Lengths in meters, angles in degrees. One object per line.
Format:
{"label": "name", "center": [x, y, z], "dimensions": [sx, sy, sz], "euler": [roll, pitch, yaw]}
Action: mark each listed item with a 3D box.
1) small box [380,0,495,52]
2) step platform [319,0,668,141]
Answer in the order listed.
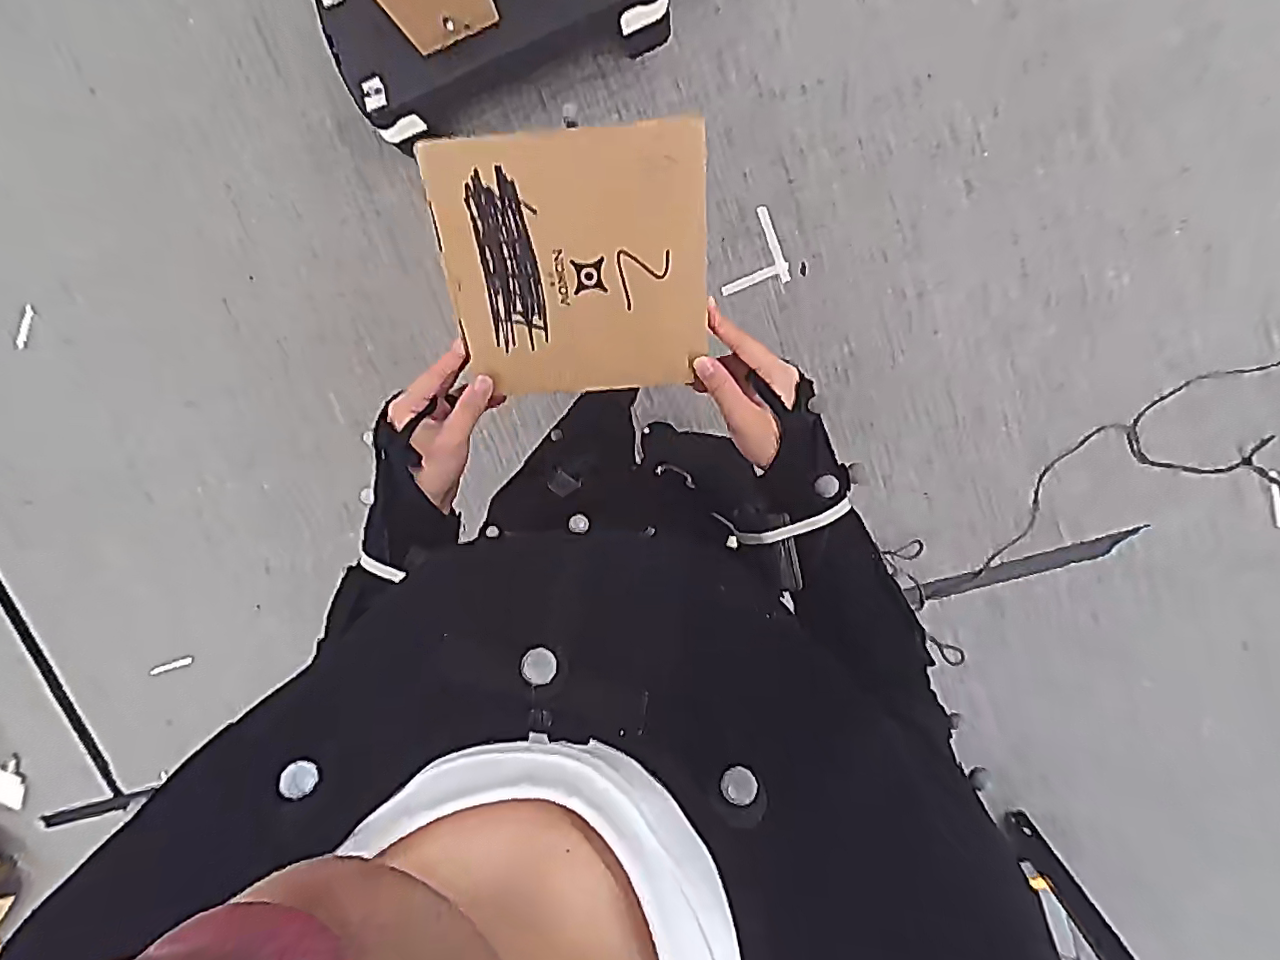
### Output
{"label": "small box", "center": [-0.381, -0.914, 0.948], "dimensions": [0.168, 0.176, 0.179], "euler": [-17, 99, 9]}
{"label": "step platform", "center": [-0.292, -0.990, 1.102], "dimensions": [0.684, 0.204, 0.286], "euler": [-19, 98, 9]}
